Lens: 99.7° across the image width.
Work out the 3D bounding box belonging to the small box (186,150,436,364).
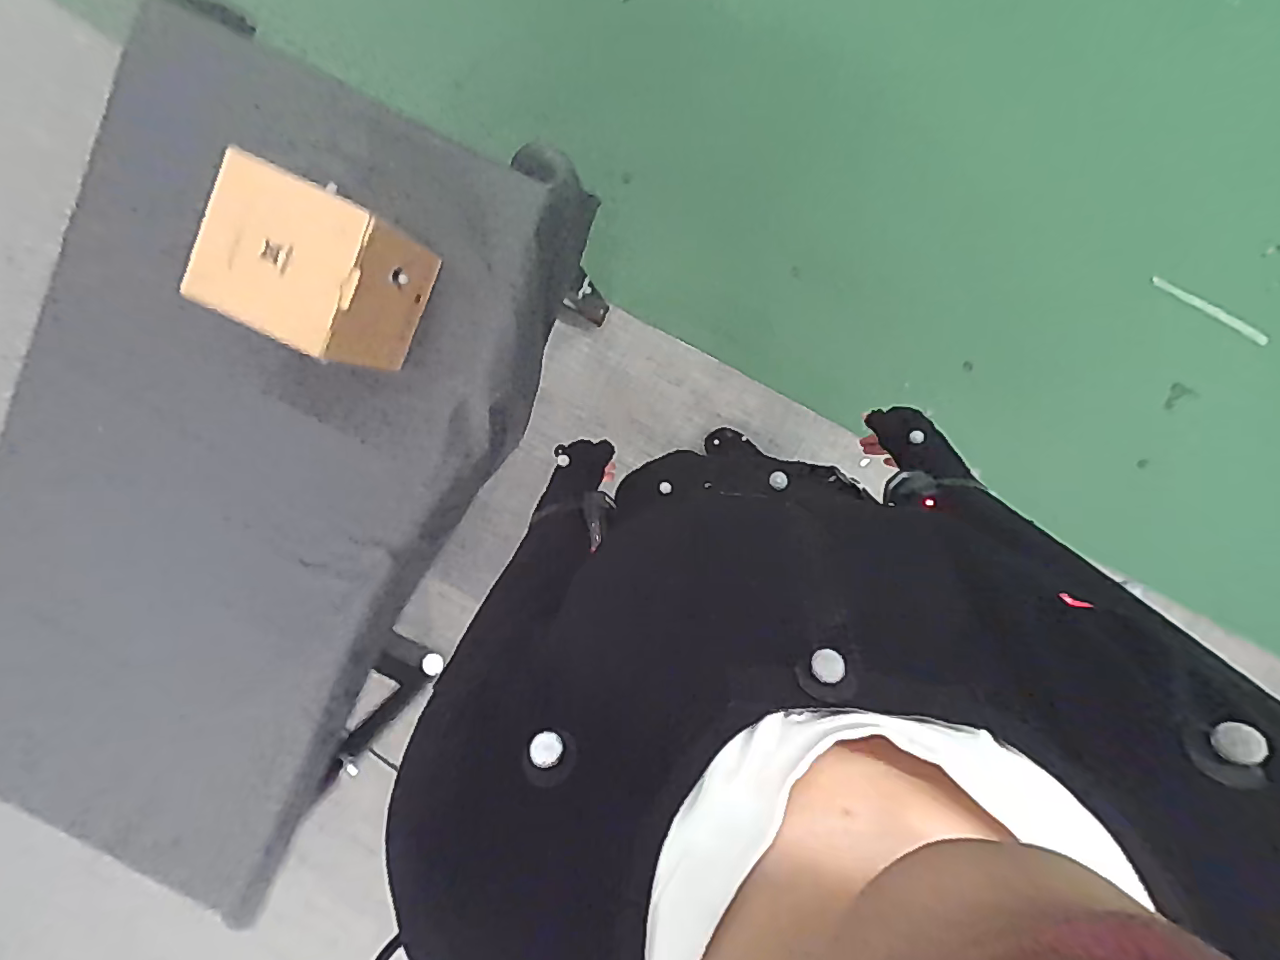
[{"bbox_3d":[-0.383,-0.252,0.660,0.179,0.176,0.168,25,97,3],"label":"small box"}]
